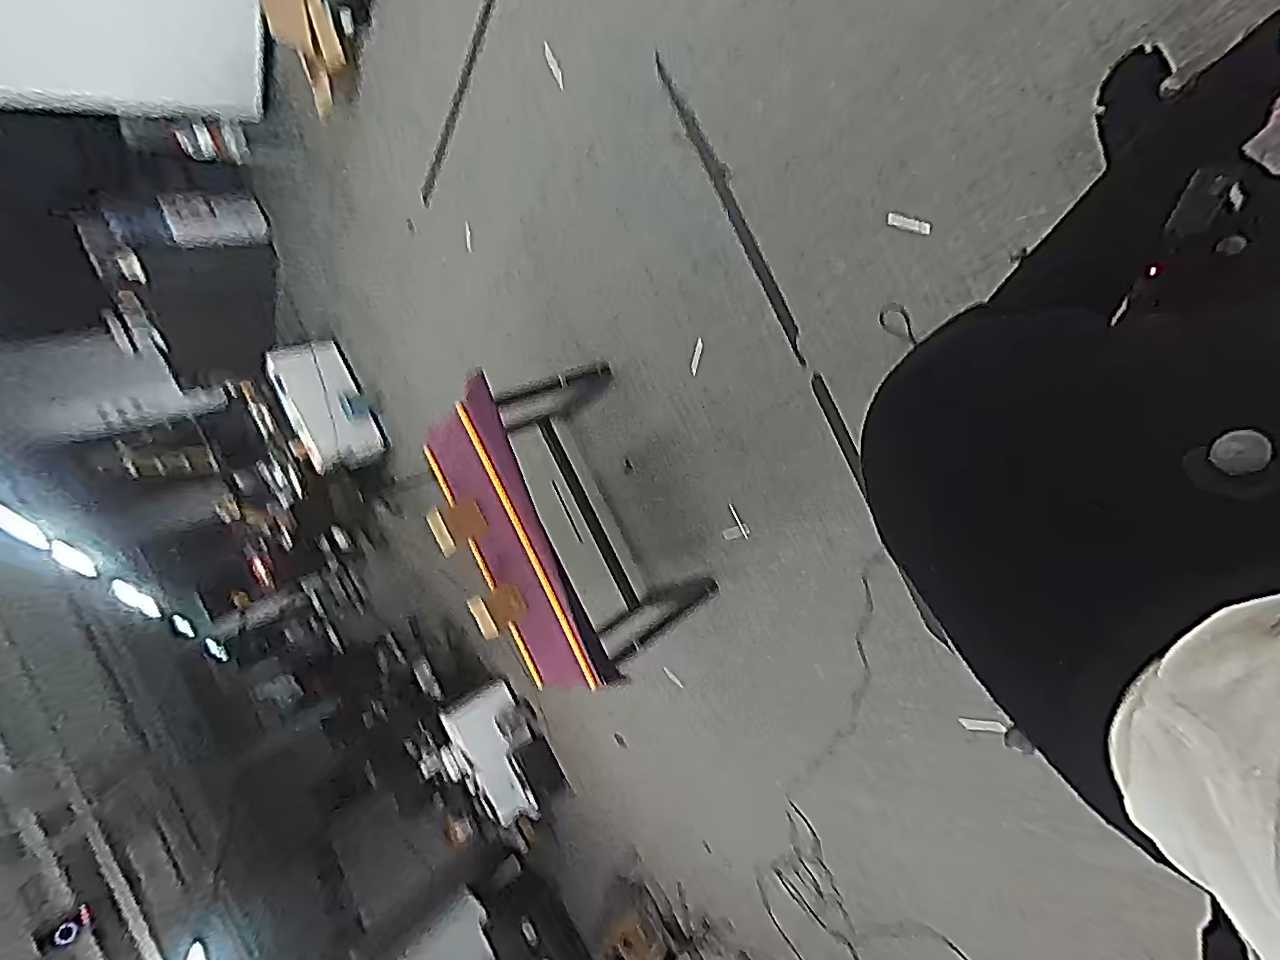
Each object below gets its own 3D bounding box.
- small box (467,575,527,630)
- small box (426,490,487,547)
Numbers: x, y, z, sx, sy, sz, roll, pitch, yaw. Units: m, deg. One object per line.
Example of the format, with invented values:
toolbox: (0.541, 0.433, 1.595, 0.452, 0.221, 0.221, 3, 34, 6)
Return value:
small box: (-0.615, 0.528, 2.339, 0.179, 0.176, 0.168, -28, 90, 51)
small box: (-0.783, 0.164, 2.321, 0.168, 0.176, 0.179, -24, 92, 50)
